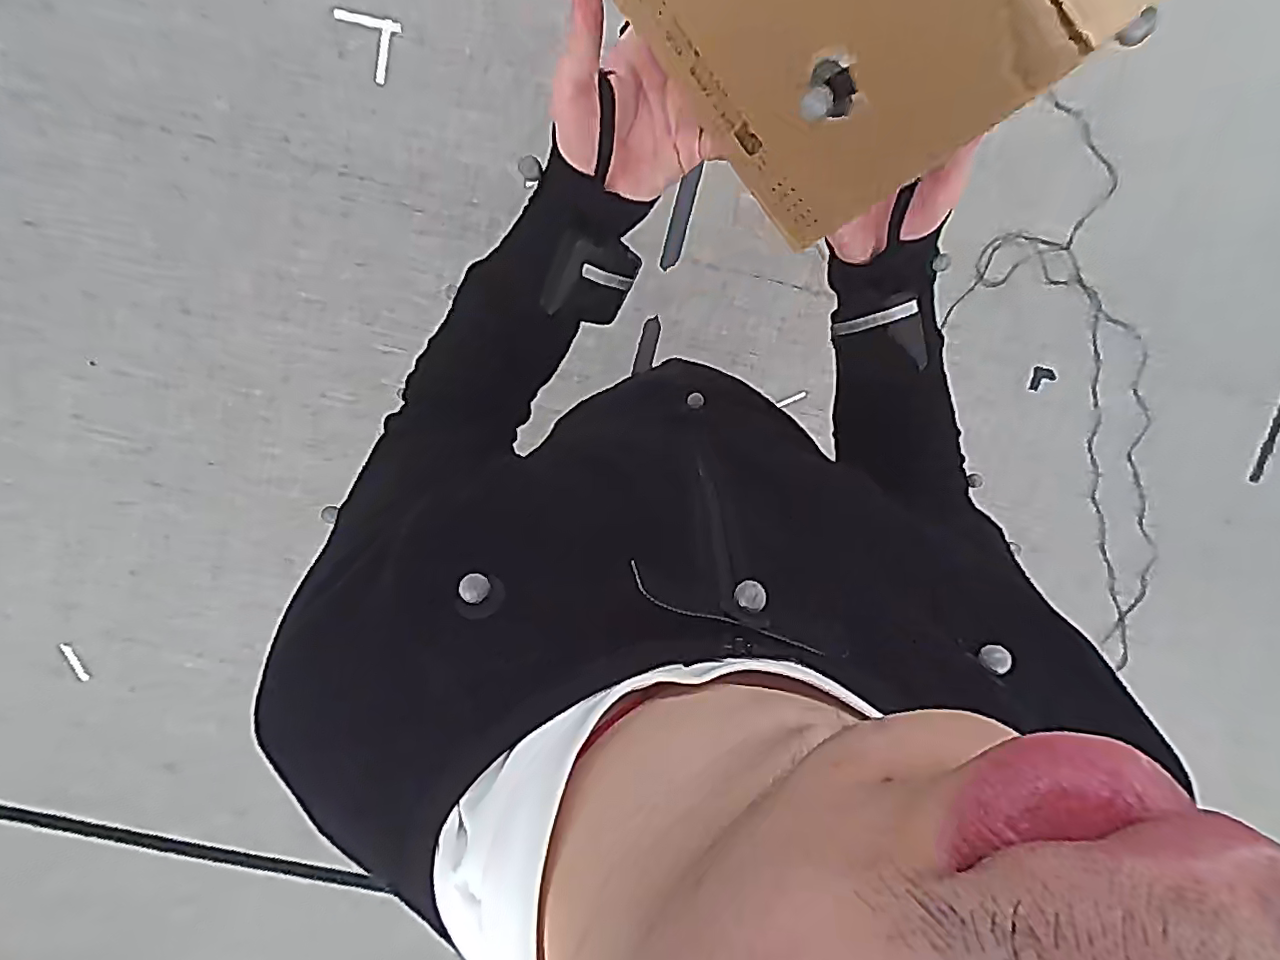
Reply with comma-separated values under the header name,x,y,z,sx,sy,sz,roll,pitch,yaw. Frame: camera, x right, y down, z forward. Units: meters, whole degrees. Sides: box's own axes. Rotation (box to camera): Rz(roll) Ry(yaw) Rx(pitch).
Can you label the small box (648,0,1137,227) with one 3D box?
name,x,y,z,sx,sy,sz,roll,pitch,yaw
small box,0.118,-0.246,0.228,0.179,0.176,0.168,-44,103,-6
